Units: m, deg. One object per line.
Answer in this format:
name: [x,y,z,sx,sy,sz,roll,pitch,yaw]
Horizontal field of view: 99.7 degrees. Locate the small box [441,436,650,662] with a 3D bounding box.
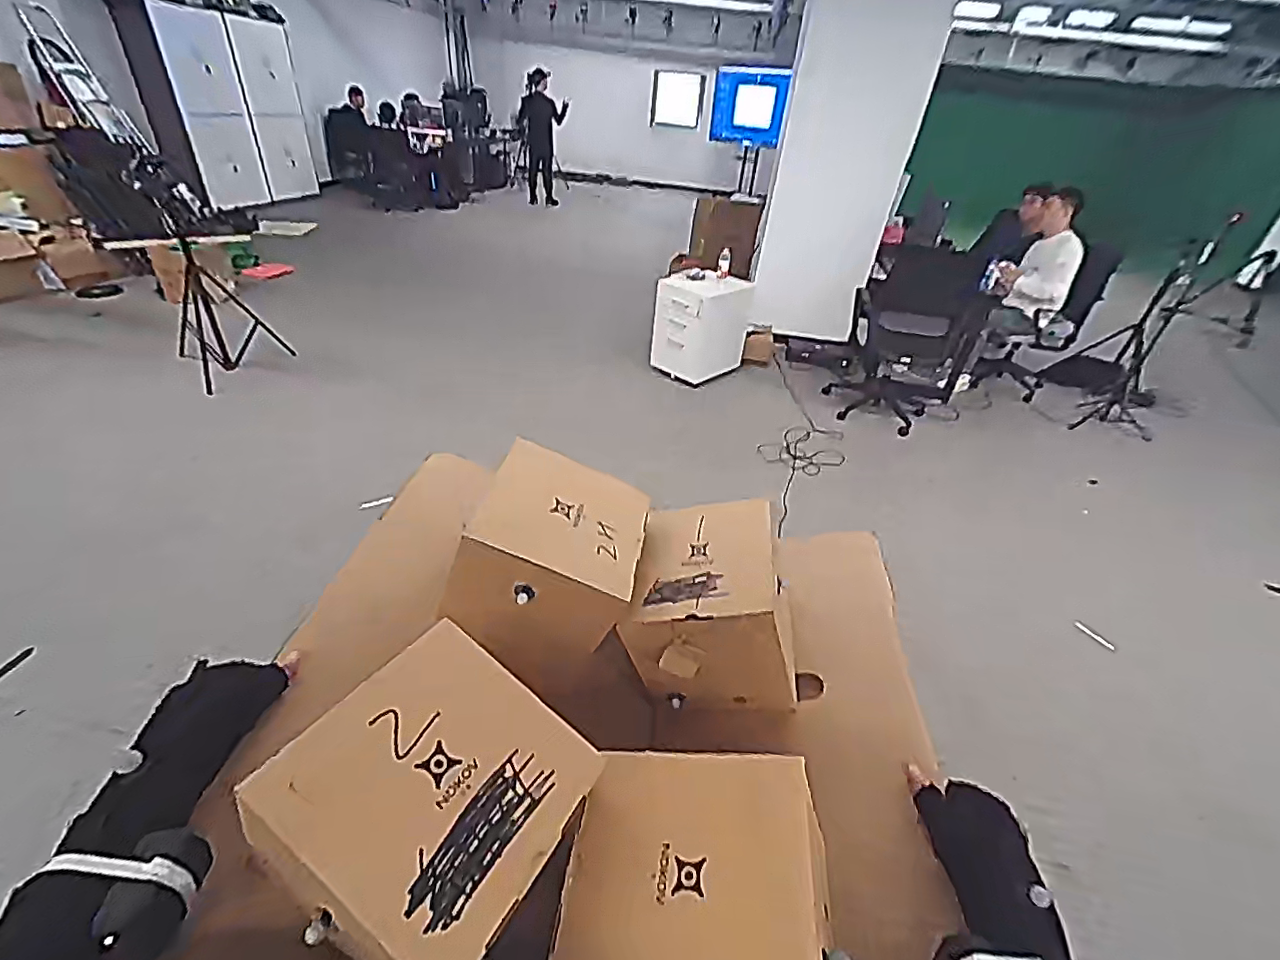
small box: [-0.110,0.085,0.633,0.179,0.176,0.168,25,39,-8]
